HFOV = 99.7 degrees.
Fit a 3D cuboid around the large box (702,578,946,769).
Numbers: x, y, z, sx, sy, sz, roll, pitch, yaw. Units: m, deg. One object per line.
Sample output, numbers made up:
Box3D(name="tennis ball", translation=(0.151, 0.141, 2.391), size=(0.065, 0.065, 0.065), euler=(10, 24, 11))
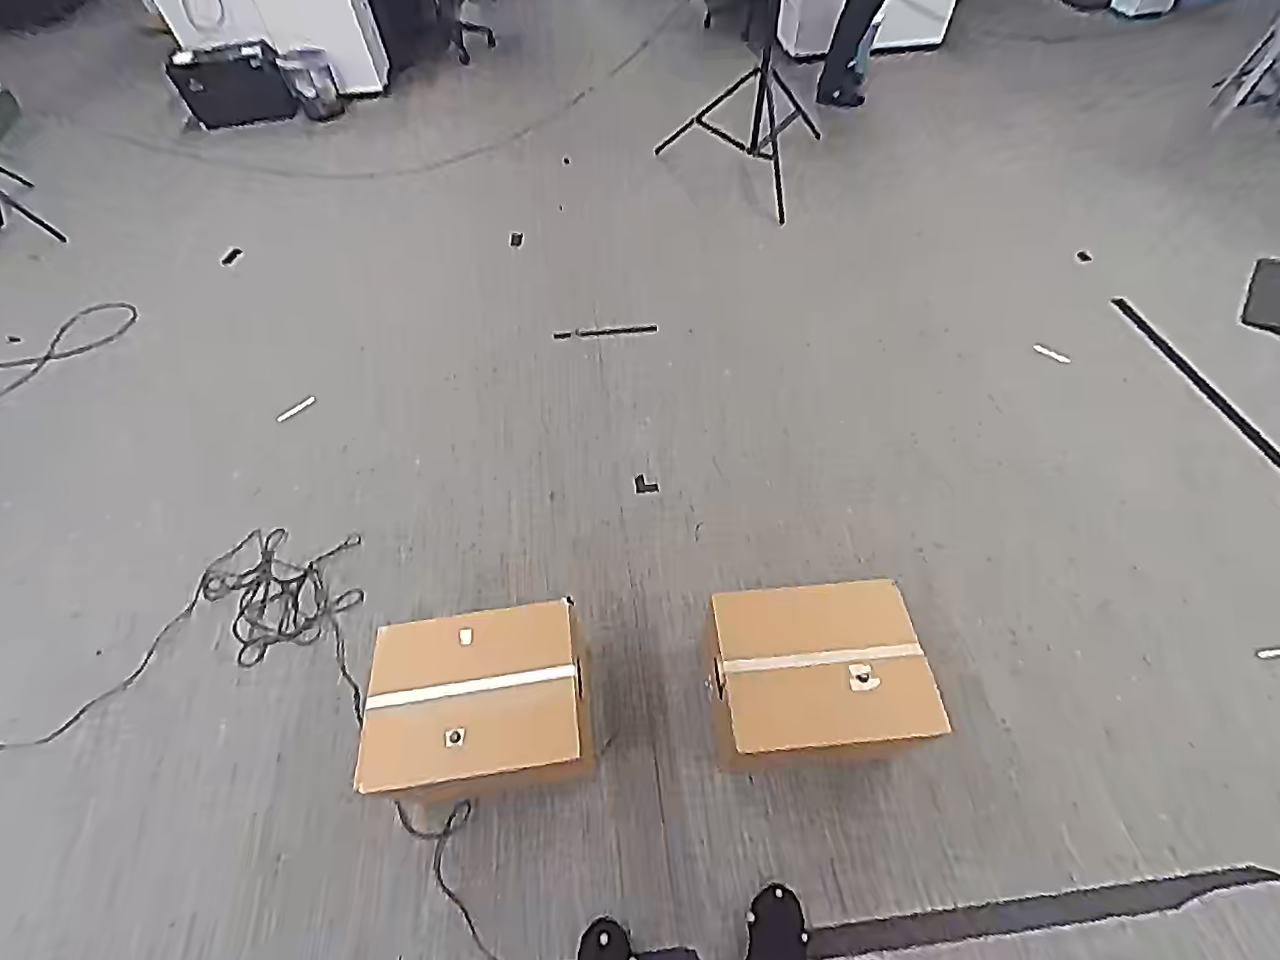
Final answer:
Box3D(name="large box", translation=(0.368, 0.439, 1.212), size=(0.408, 0.320, 0.320), euler=(-4, 56, -2))
